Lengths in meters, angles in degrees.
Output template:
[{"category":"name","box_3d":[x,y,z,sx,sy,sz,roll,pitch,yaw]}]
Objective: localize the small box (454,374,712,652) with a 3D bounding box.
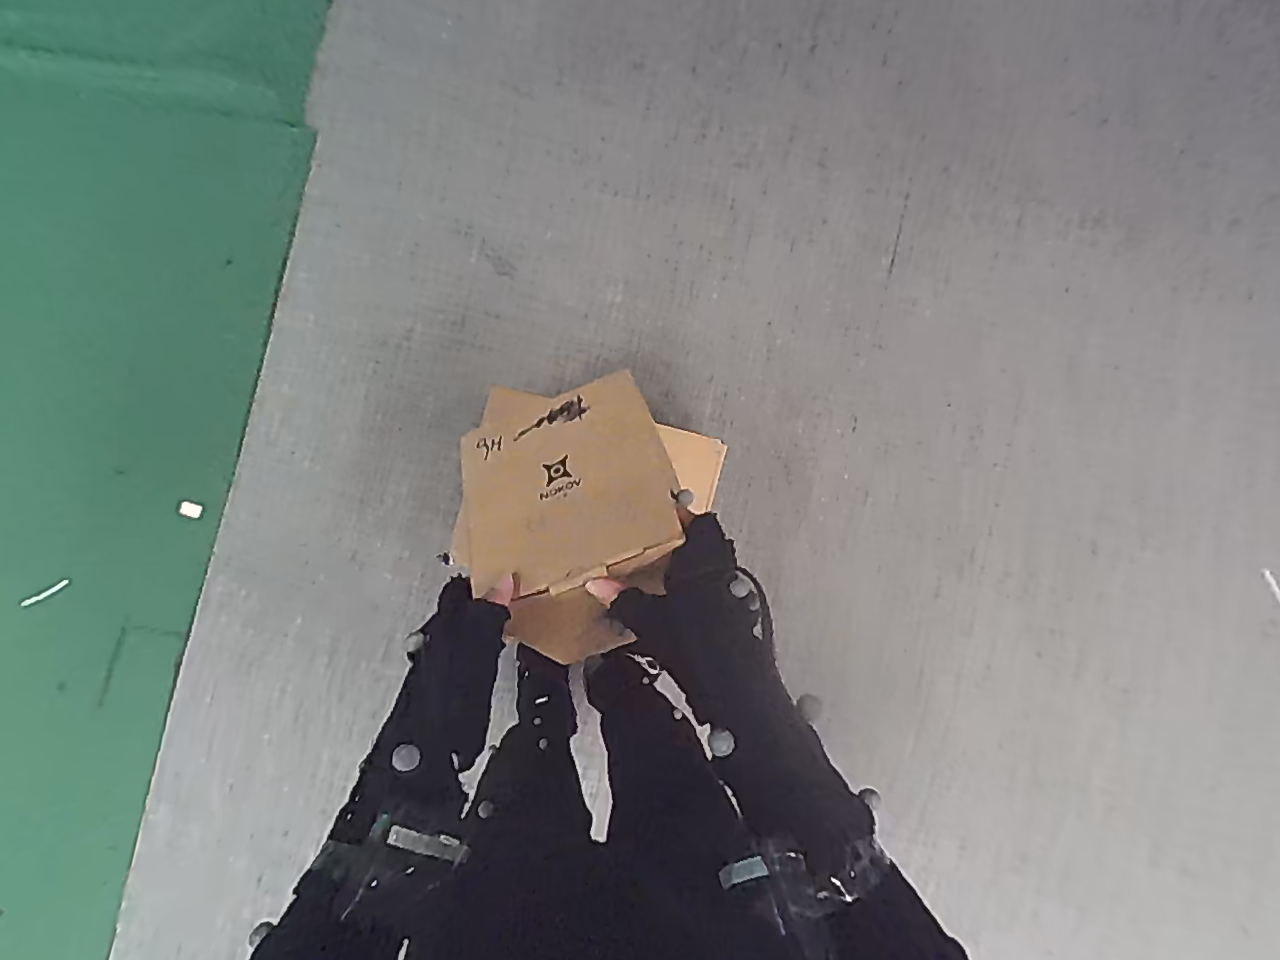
[{"category":"small box","box_3d":[-0.045,0.044,0.491,0.168,0.176,0.179,-21,58,6]}]
